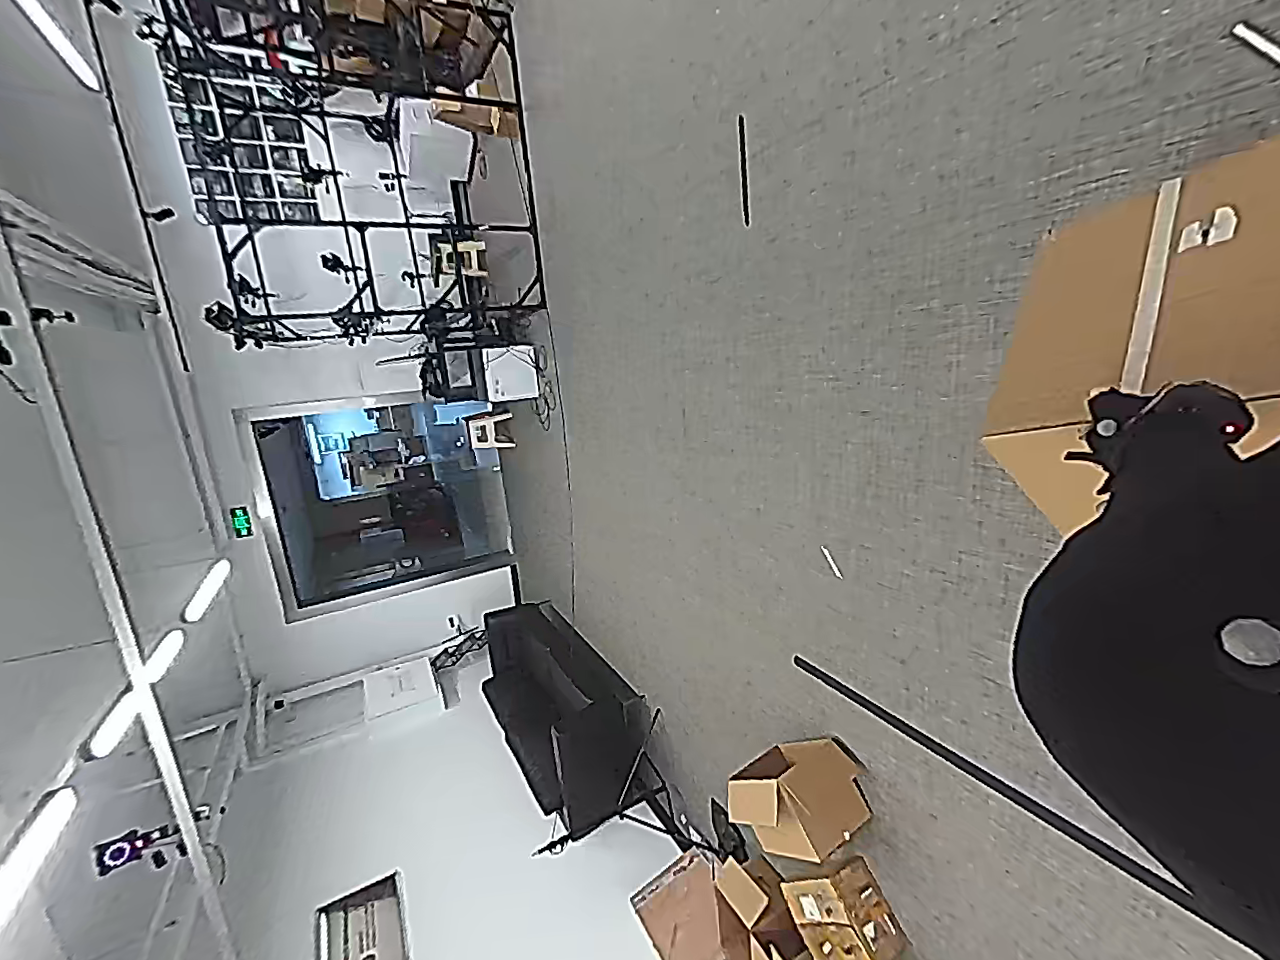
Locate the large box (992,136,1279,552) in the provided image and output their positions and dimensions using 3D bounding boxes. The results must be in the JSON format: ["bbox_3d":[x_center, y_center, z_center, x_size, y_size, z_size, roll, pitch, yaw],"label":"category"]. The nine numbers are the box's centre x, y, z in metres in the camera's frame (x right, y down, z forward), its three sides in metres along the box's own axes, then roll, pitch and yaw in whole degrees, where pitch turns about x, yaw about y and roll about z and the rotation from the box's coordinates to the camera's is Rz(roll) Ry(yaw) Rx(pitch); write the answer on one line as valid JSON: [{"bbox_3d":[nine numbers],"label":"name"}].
[{"bbox_3d":[0.737,-0.151,0.706,0.320,0.320,0.408,-7,50,60],"label":"large box"}]
